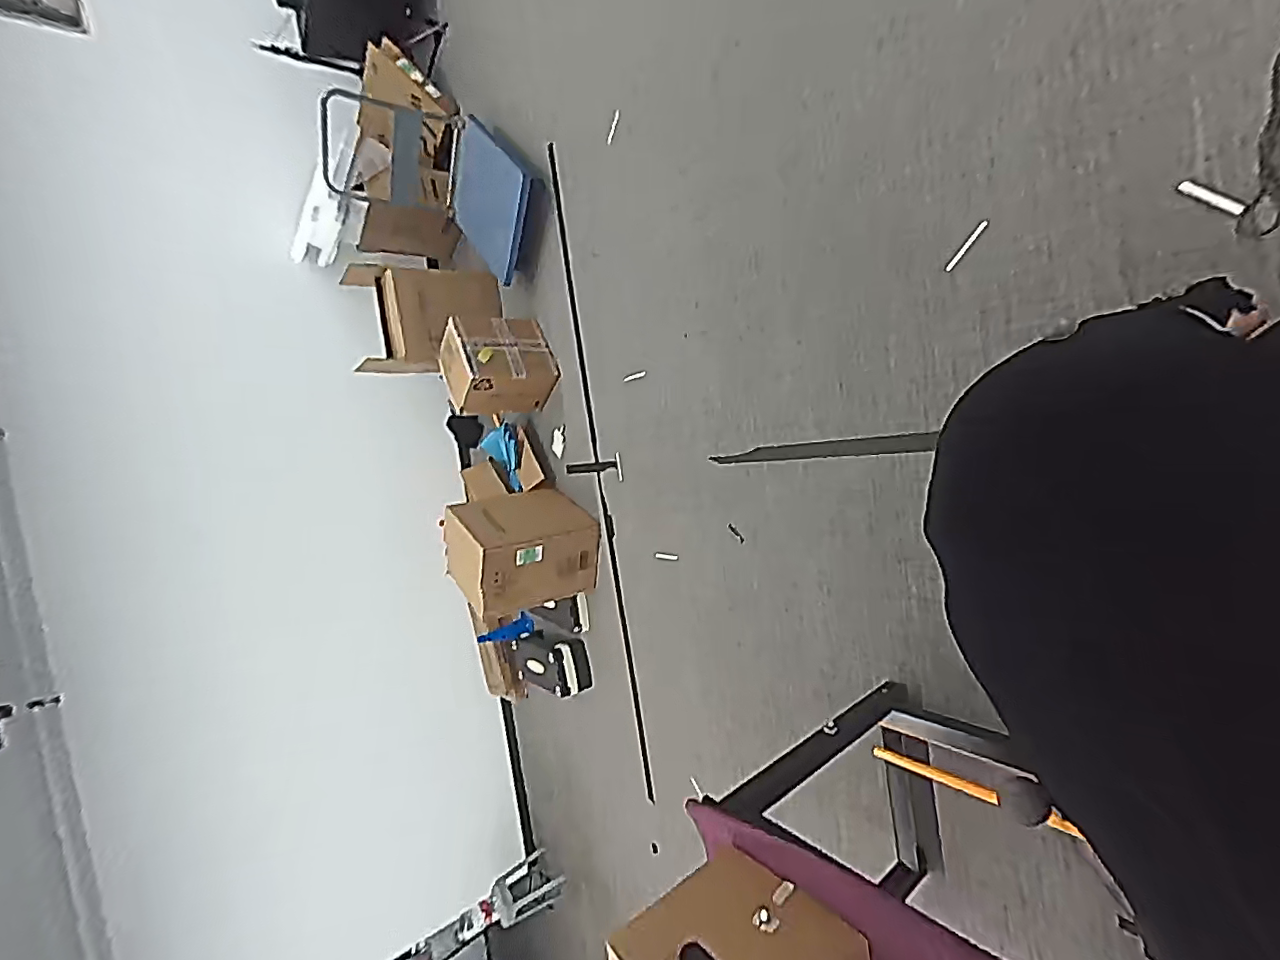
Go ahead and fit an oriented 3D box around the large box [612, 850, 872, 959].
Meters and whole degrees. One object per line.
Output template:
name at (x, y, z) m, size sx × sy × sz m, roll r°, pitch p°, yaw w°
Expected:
large box at (0.193, 0.949, 0.896) m, size 0.320 × 0.320 × 0.408 m, roll -5°, pitch 96°, yaw 55°
